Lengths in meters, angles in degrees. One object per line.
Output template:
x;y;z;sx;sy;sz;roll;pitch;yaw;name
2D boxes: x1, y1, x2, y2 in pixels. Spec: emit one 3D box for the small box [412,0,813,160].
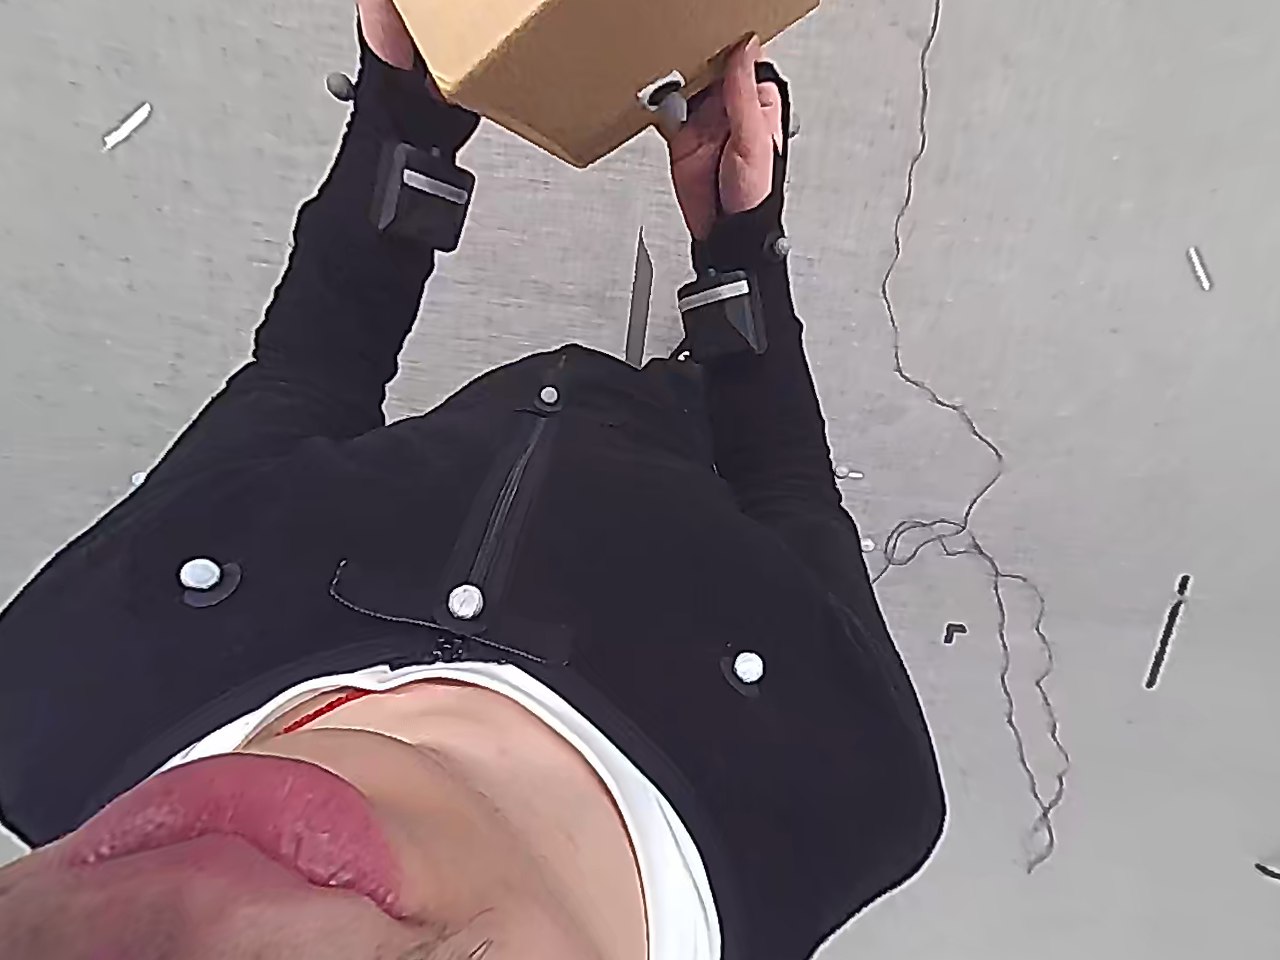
-0.023;-0.289;0.252;0.168;0.176;0.179;-24;103;23;small box
